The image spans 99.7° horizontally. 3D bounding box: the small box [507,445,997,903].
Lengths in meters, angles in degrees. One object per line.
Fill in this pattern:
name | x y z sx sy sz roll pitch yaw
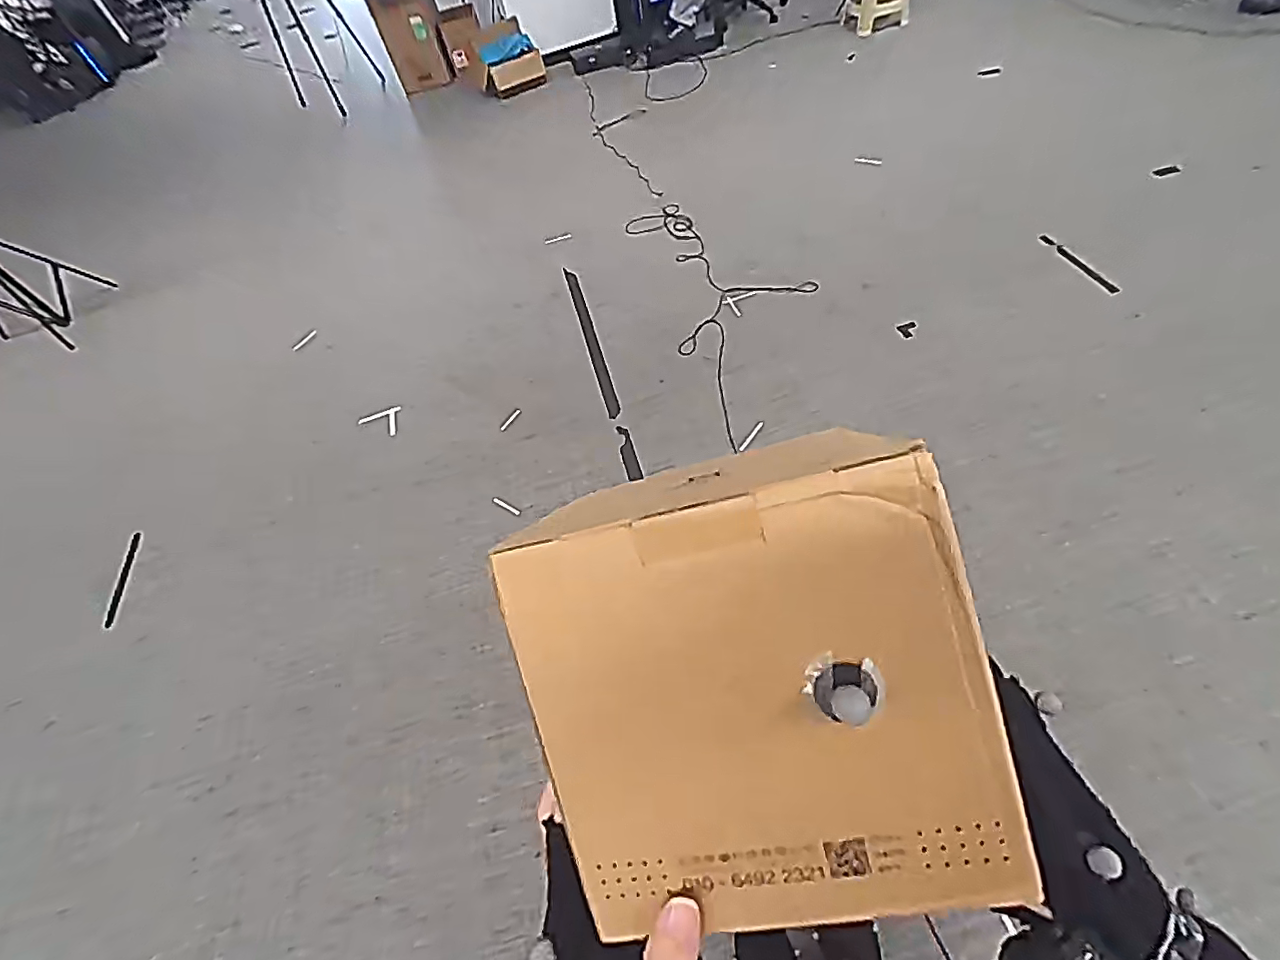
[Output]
small box | 0.058 0.089 0.294 0.168 0.179 0.176 -15 94 12
